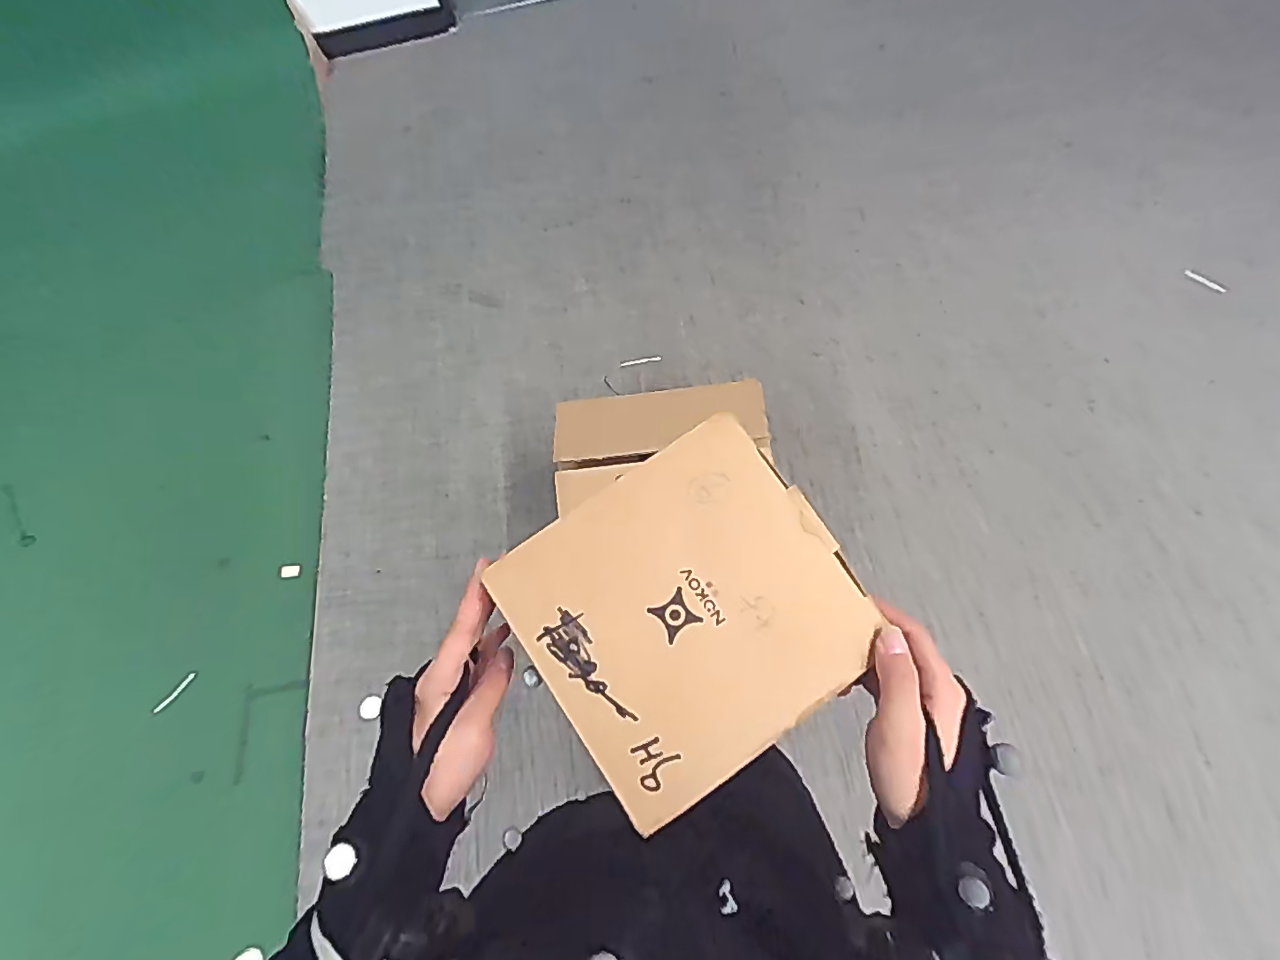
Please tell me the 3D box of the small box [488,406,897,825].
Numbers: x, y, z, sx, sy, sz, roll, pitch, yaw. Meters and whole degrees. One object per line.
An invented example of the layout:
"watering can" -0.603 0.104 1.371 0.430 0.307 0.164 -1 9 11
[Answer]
"small box" 0.026 0.080 0.377 0.179 0.176 0.168 -34 82 -7
